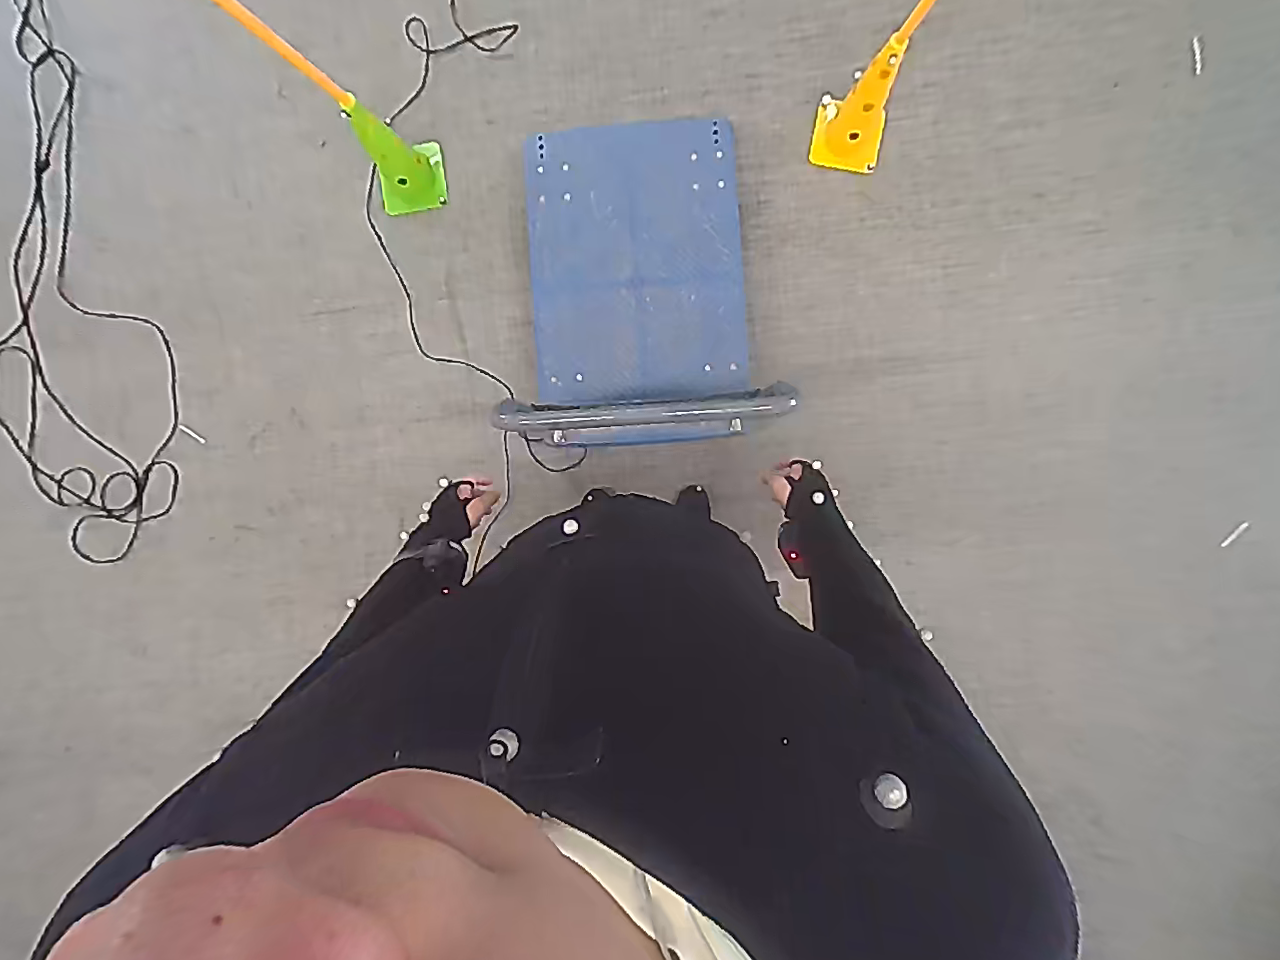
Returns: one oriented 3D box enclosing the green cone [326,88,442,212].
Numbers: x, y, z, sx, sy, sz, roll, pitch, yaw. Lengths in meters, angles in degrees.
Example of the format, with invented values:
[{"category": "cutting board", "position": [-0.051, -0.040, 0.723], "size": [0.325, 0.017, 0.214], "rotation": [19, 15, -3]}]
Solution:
[{"category": "green cone", "position": [-0.722, -0.930, 1.476], "size": [0.202, 0.368, 0.200], "rotation": [-10, 89, 4]}]
